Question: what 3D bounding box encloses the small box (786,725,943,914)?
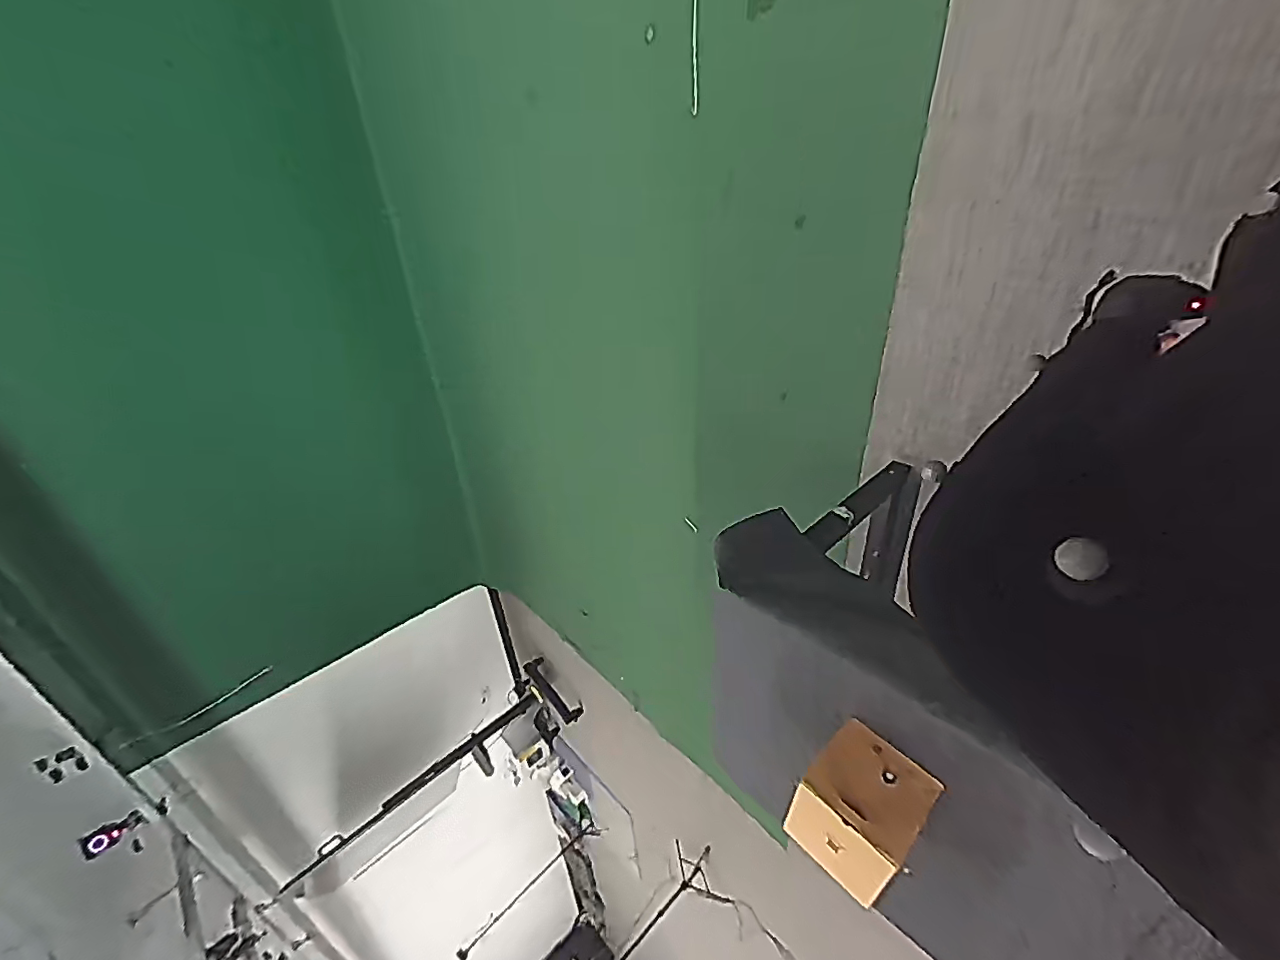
[{"bbox_3d":[0.372,0.558,0.904,0.168,0.176,0.179,33,136,37],"label":"small box"}]
